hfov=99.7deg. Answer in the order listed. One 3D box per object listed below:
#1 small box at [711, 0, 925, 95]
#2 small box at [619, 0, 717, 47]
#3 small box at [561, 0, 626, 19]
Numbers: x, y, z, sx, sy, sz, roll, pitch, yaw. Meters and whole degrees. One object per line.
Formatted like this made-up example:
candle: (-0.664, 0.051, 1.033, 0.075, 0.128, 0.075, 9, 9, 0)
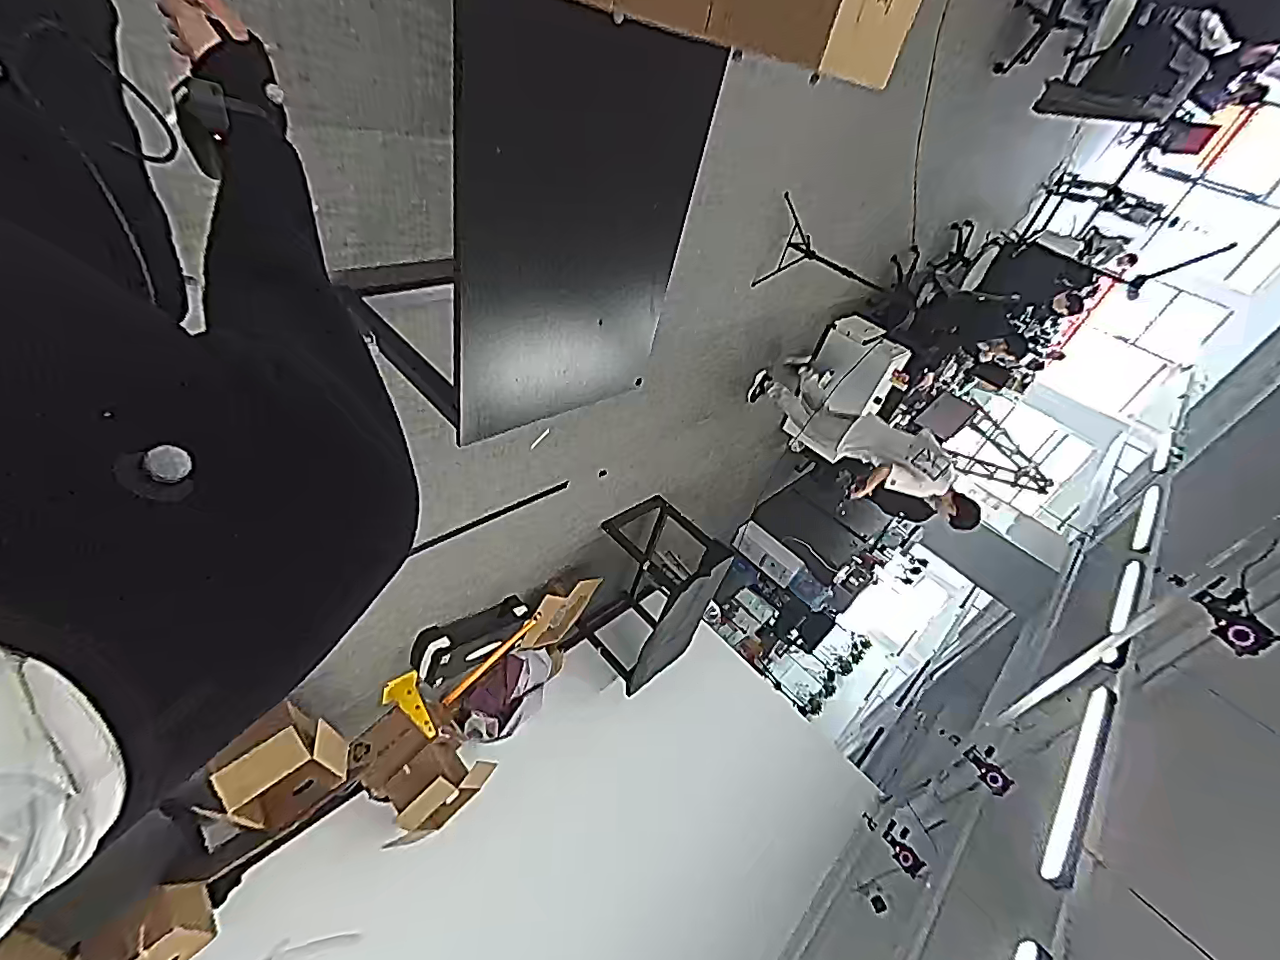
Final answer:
small box: (0.213, -0.564, 0.615, 0.179, 0.176, 0.168, -27, 145, -38)
small box: (0.102, -0.660, 0.686, 0.179, 0.176, 0.168, -26, 145, -39)
small box: (-0.012, -0.755, 0.757, 0.179, 0.176, 0.168, -27, 146, -38)
